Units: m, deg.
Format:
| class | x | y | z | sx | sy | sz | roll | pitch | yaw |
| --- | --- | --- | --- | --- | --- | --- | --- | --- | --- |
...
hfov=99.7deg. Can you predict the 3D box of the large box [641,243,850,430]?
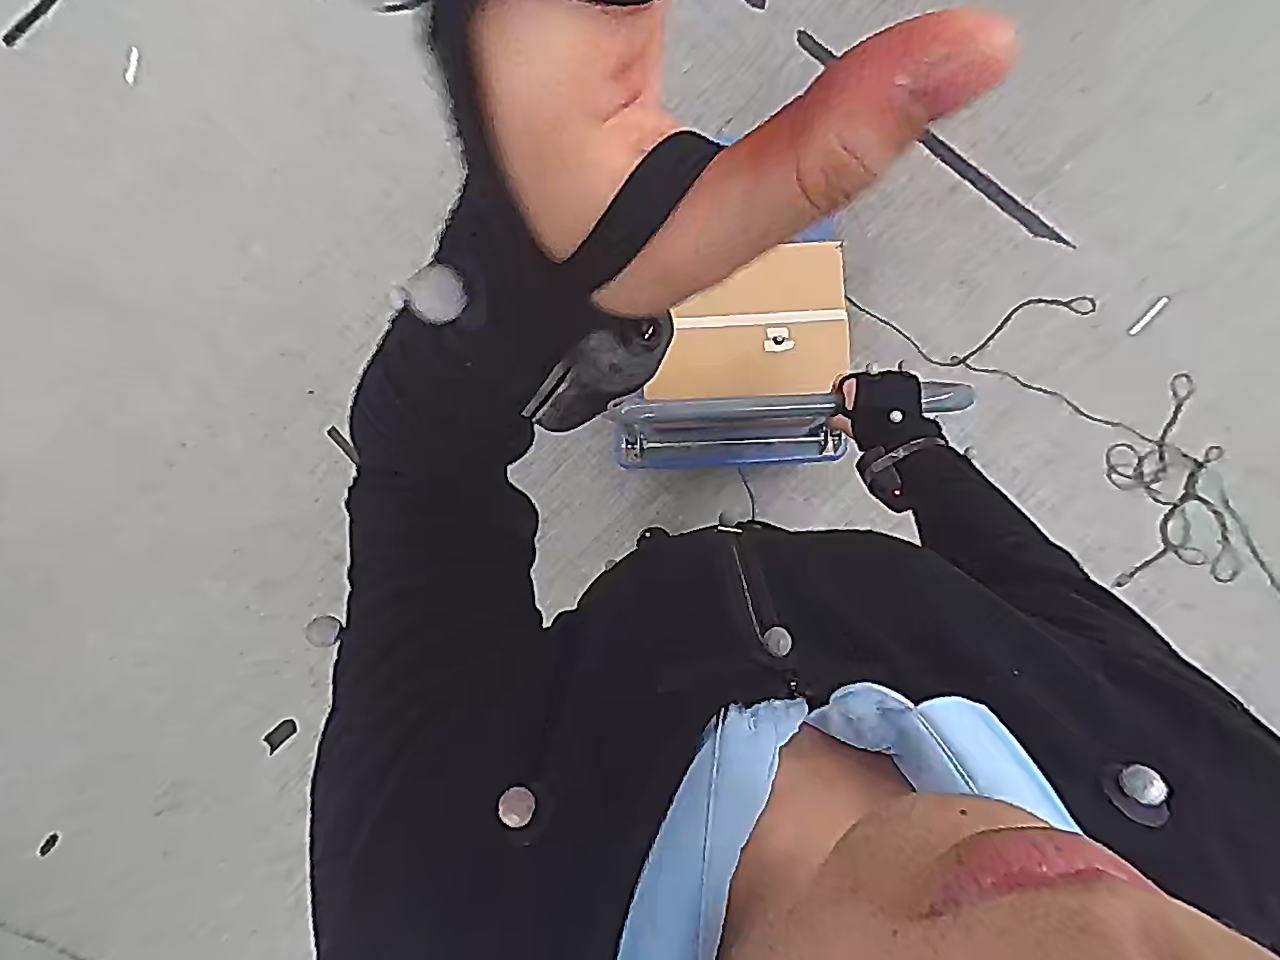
| class | x | y | z | sx | sy | sz | roll | pitch | yaw |
| --- | --- | --- | --- | --- | --- | --- | --- | --- | --- |
| large box | 0.214 | -0.302 | 1.229 | 0.408 | 0.320 | 0.320 | -2 | 85 | 2 |
